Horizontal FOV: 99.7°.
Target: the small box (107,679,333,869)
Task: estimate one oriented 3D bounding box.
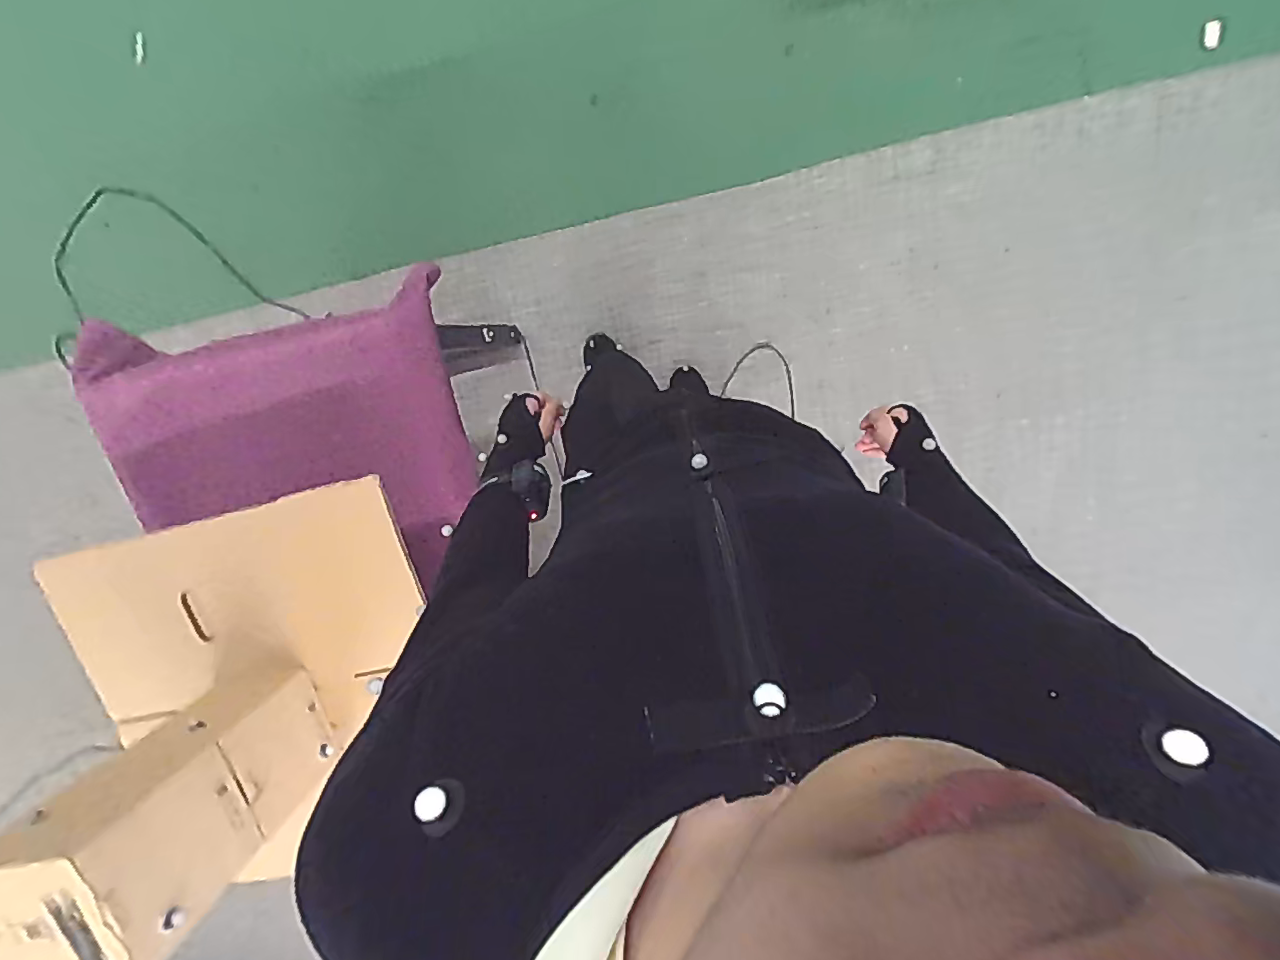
[{"bbox_3d":[-0.584,0.414,0.784,0.179,0.176,0.168,-14,101,9],"label":"small box"}]
